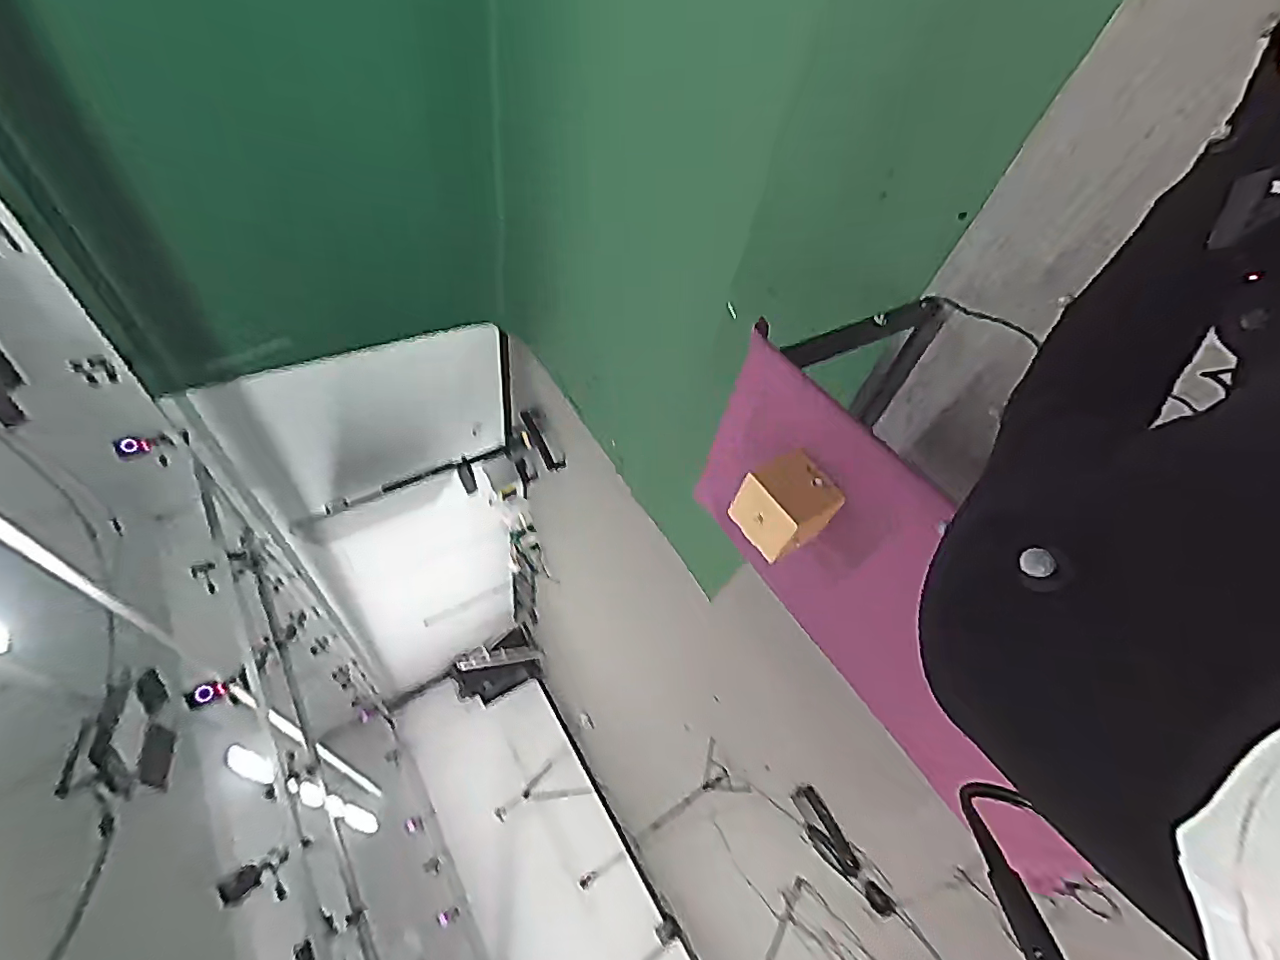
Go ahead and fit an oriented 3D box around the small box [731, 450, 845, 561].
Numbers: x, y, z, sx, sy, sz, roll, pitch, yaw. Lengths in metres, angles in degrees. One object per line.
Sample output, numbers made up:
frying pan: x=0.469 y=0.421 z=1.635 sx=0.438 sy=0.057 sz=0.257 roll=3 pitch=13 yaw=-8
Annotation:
small box: x=0.350 y=0.059 z=1.283 sx=0.168 sy=0.176 sz=0.179 roll=52 pitch=151 yaw=24
